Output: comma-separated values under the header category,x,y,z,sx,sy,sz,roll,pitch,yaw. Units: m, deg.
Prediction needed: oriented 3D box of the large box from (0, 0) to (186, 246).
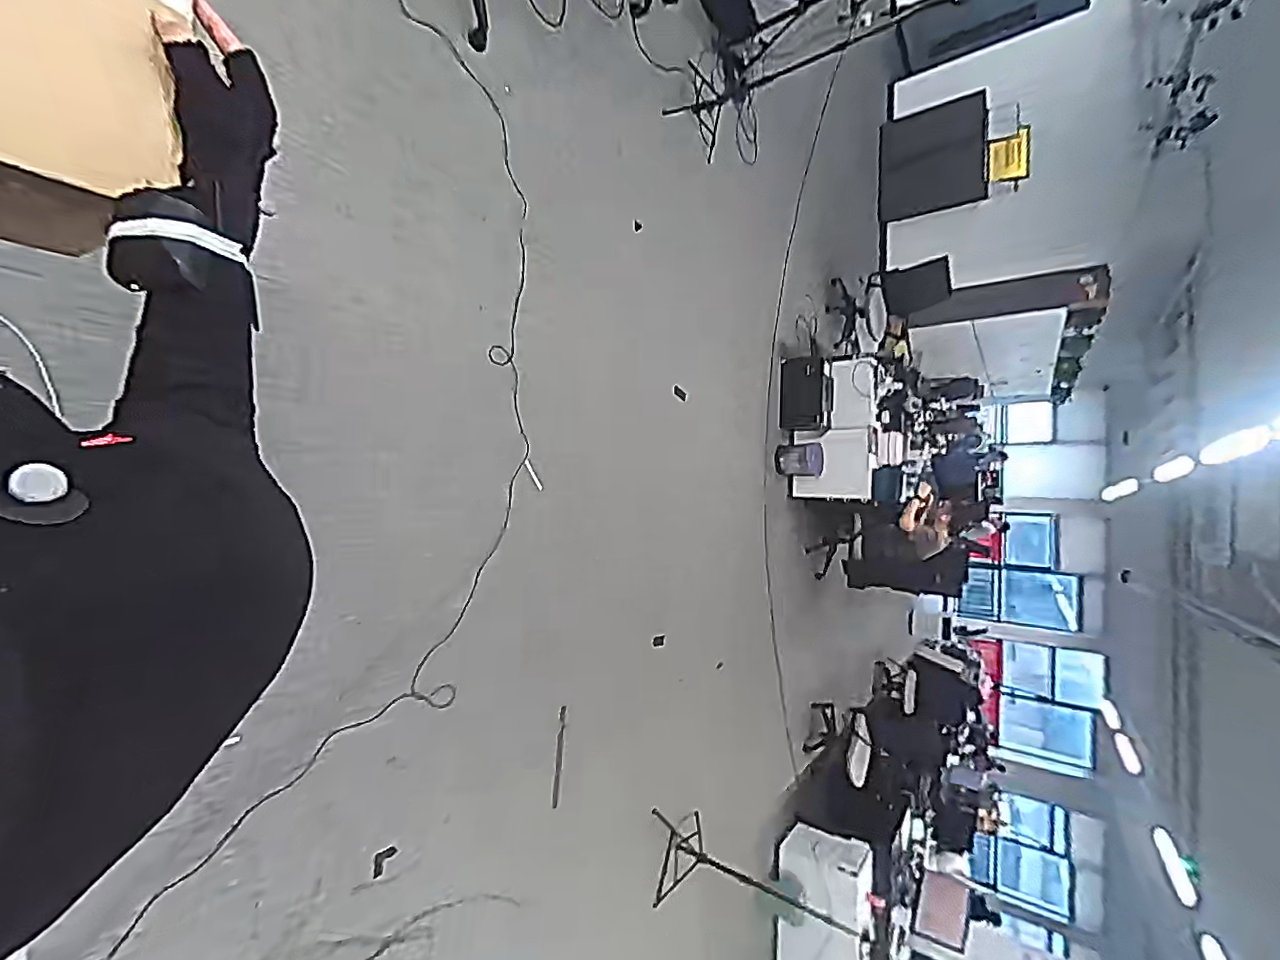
category,x,y,z,sx,sy,sz,roll,pitch,yaw
large box,-0.584,-0.379,0.331,0.408,0.320,0.320,0,98,-57
